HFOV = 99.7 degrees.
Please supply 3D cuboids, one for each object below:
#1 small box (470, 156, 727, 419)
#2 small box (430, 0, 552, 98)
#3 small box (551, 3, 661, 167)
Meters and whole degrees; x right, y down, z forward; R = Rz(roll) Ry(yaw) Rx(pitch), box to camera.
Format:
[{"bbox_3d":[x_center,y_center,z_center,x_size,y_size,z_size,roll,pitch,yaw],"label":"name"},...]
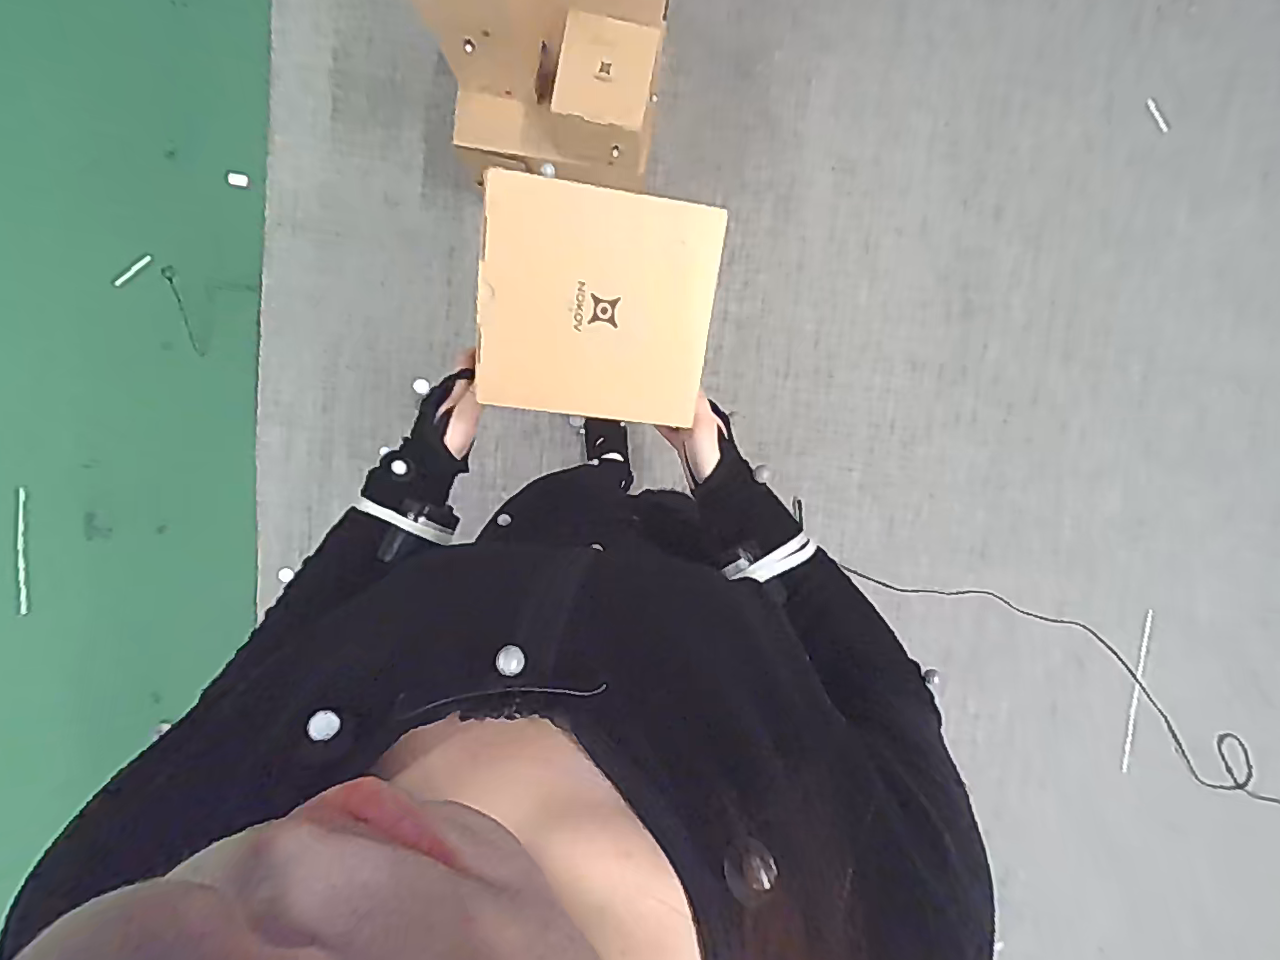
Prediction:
[{"bbox_3d":[-0.041,-0.160,0.476,0.179,0.176,0.168,6,108,-7],"label":"small box"},{"bbox_3d":[-0.266,-0.867,1.007,0.168,0.176,0.179,12,94,0],"label":"small box"},{"bbox_3d":[-0.061,-0.728,1.020,0.168,0.176,0.179,12,94,-3],"label":"small box"}]
